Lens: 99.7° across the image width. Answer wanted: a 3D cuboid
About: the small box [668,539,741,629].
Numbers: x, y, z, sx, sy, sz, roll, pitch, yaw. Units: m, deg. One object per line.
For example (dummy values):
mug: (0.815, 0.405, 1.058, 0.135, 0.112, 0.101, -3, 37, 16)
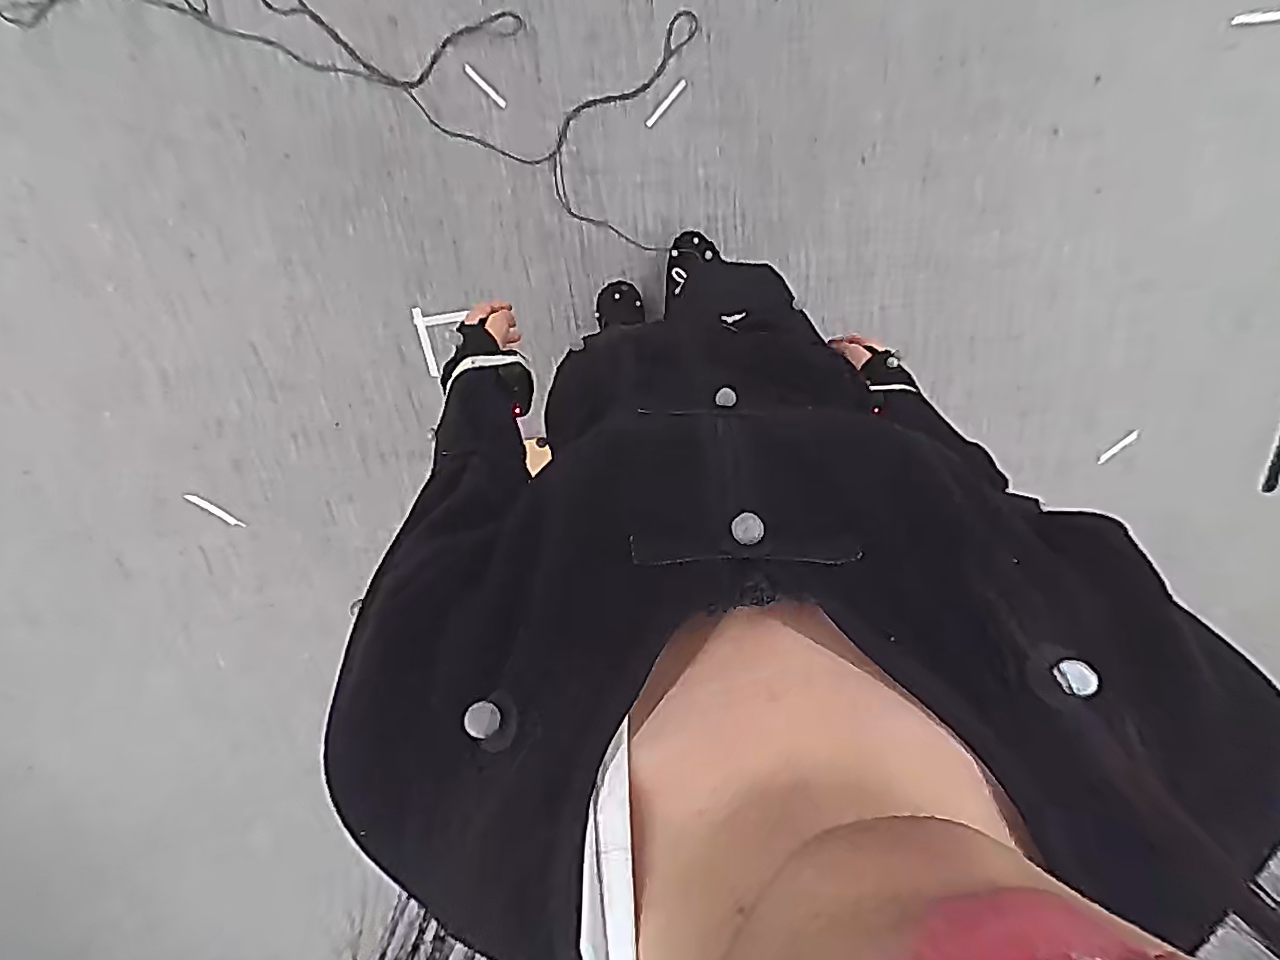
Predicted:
small box: (0.184, 0.298, 1.574, 0.168, 0.176, 0.179, -16, 112, 2)
